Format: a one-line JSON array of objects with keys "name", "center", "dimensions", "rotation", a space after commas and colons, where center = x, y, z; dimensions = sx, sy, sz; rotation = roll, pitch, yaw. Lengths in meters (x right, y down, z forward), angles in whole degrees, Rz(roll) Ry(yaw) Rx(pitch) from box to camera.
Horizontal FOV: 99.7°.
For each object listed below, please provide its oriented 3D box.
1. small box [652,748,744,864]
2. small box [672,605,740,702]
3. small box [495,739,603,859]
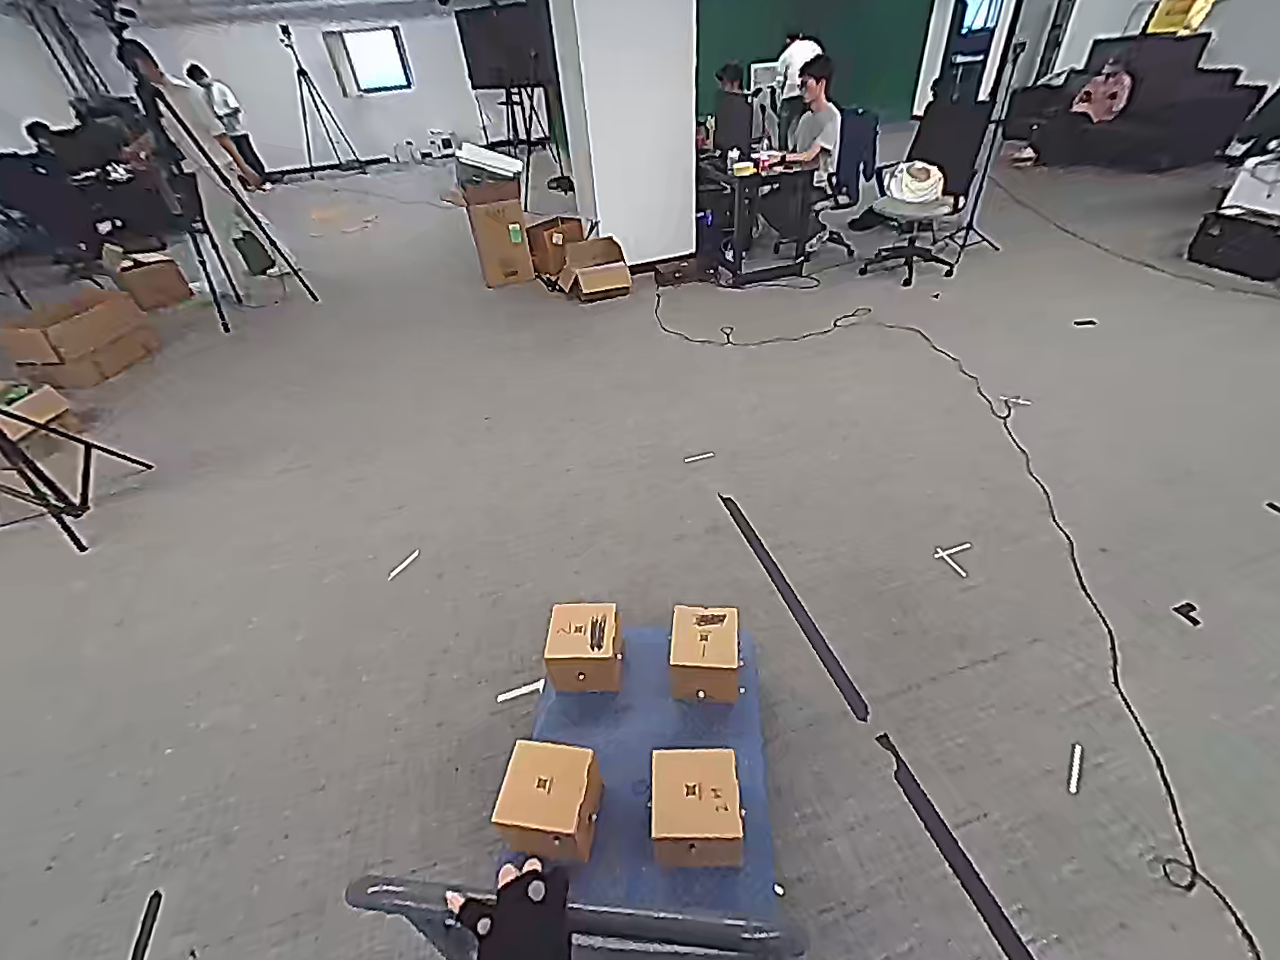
[{"name": "small box", "center": [0.121, 0.683, 1.131], "dimensions": [0.179, 0.176, 0.168], "rotation": [-3, 40, 5]}, {"name": "small box", "center": [0.174, 0.450, 1.407], "dimensions": [0.168, 0.176, 0.179], "rotation": [1, 41, 9]}, {"name": "small box", "center": [-0.186, 0.688, 1.166], "dimensions": [0.179, 0.176, 0.168], "rotation": [3, 40, 9]}]
